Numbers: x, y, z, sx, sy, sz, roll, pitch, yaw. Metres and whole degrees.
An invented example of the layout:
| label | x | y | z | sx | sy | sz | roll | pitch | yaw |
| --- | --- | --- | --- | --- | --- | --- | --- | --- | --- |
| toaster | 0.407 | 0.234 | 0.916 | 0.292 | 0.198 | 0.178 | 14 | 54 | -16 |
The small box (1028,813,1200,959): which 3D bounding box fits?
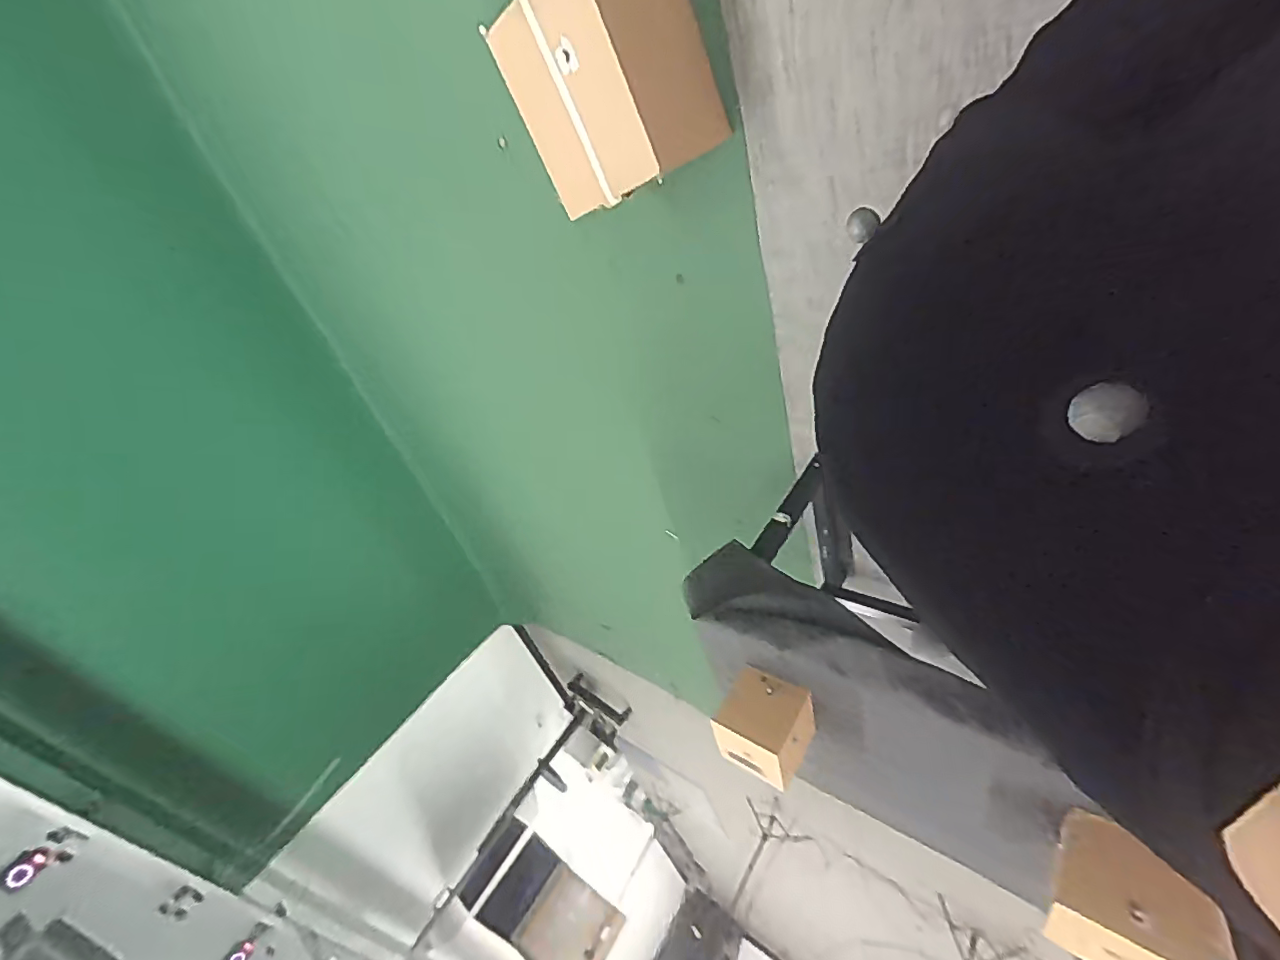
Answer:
| label | x | y | z | sx | sy | sz | roll | pitch | yaw |
| --- | --- | --- | --- | --- | --- | --- | --- | --- | --- |
| small box | 0.746 | 0.679 | 0.858 | 0.179 | 0.176 | 0.168 | 14 | 135 | 38 |
